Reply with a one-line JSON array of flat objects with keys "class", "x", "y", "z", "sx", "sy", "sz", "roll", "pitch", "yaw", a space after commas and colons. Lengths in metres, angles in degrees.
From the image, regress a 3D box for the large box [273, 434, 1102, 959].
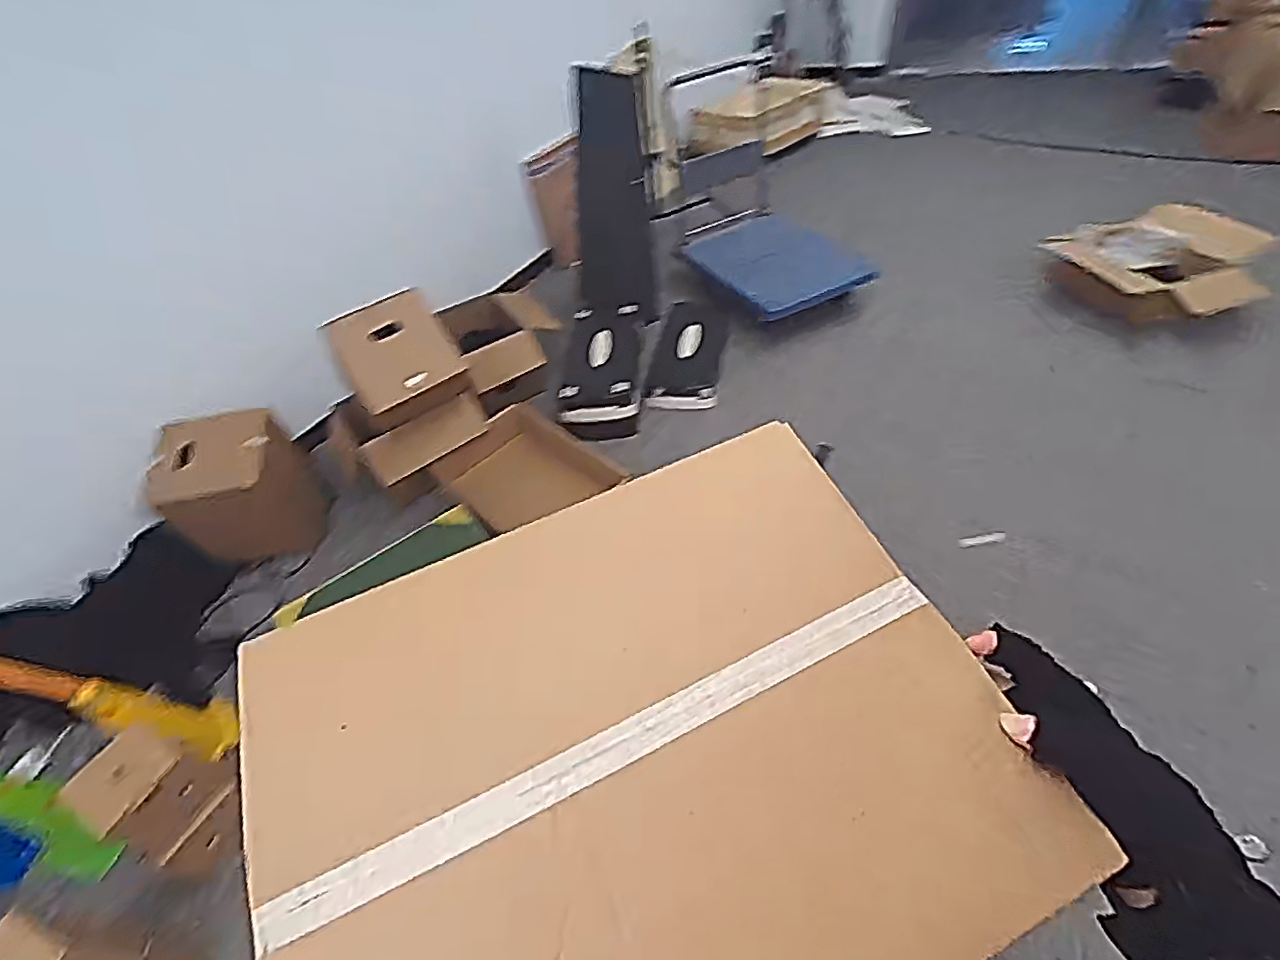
[{"class": "large box", "x": 0.010, "y": 0.230, "z": 0.443, "sx": 0.408, "sy": 0.320, "sz": 0.320, "roll": -23, "pitch": 59, "yaw": -9}]
